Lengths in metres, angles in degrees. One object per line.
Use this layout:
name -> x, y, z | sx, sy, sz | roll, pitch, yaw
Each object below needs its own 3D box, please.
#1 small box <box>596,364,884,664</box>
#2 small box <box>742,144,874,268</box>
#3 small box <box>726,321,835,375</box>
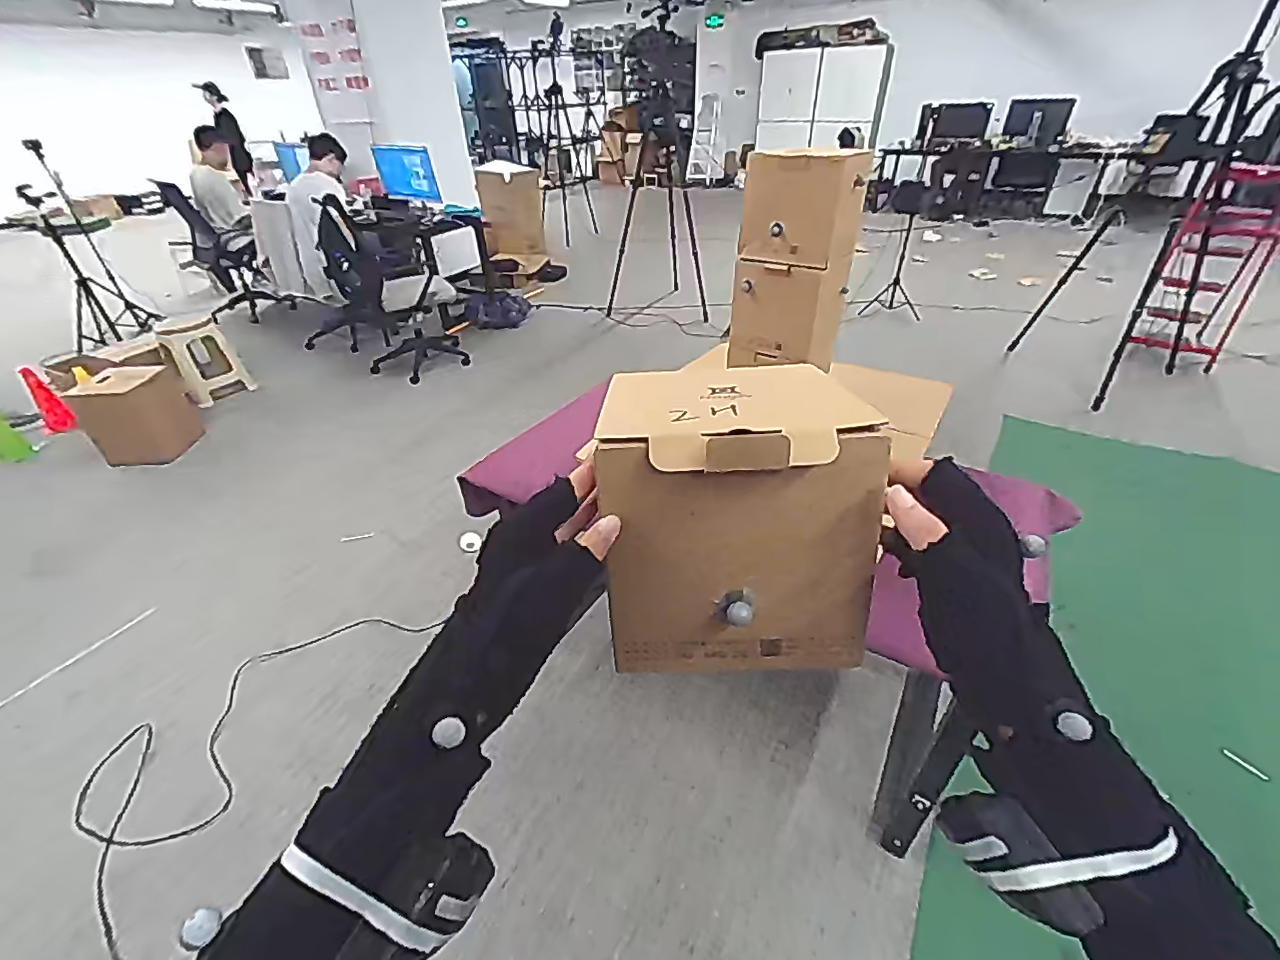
small box -> 0.063, 0.016, 0.413 | 0.168, 0.176, 0.179 | -3, 25, 3
small box -> 0.290, -0.488, 0.954 | 0.168, 0.176, 0.179 | 20, 40, 27
small box -> 0.291, -0.219, 1.141 | 0.168, 0.176, 0.179 | 21, 40, 28
